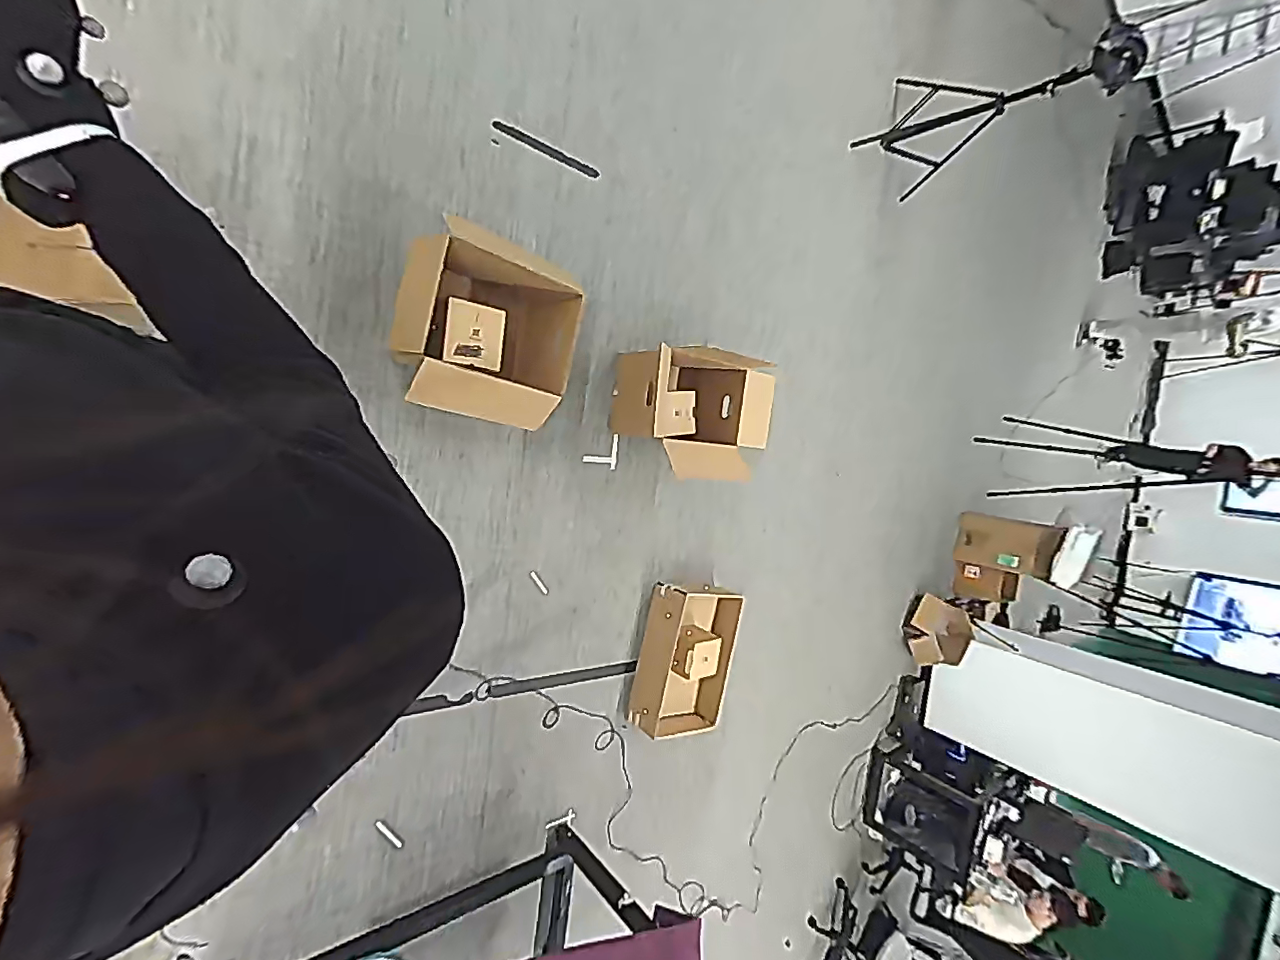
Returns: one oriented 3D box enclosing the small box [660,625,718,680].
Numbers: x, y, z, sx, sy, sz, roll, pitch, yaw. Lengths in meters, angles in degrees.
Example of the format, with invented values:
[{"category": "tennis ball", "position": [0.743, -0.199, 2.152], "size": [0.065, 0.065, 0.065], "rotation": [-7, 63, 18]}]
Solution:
[{"category": "small box", "position": [0.207, 0.741, 2.337], "size": [0.179, 0.176, 0.168], "rotation": [6, 95, -41]}]
